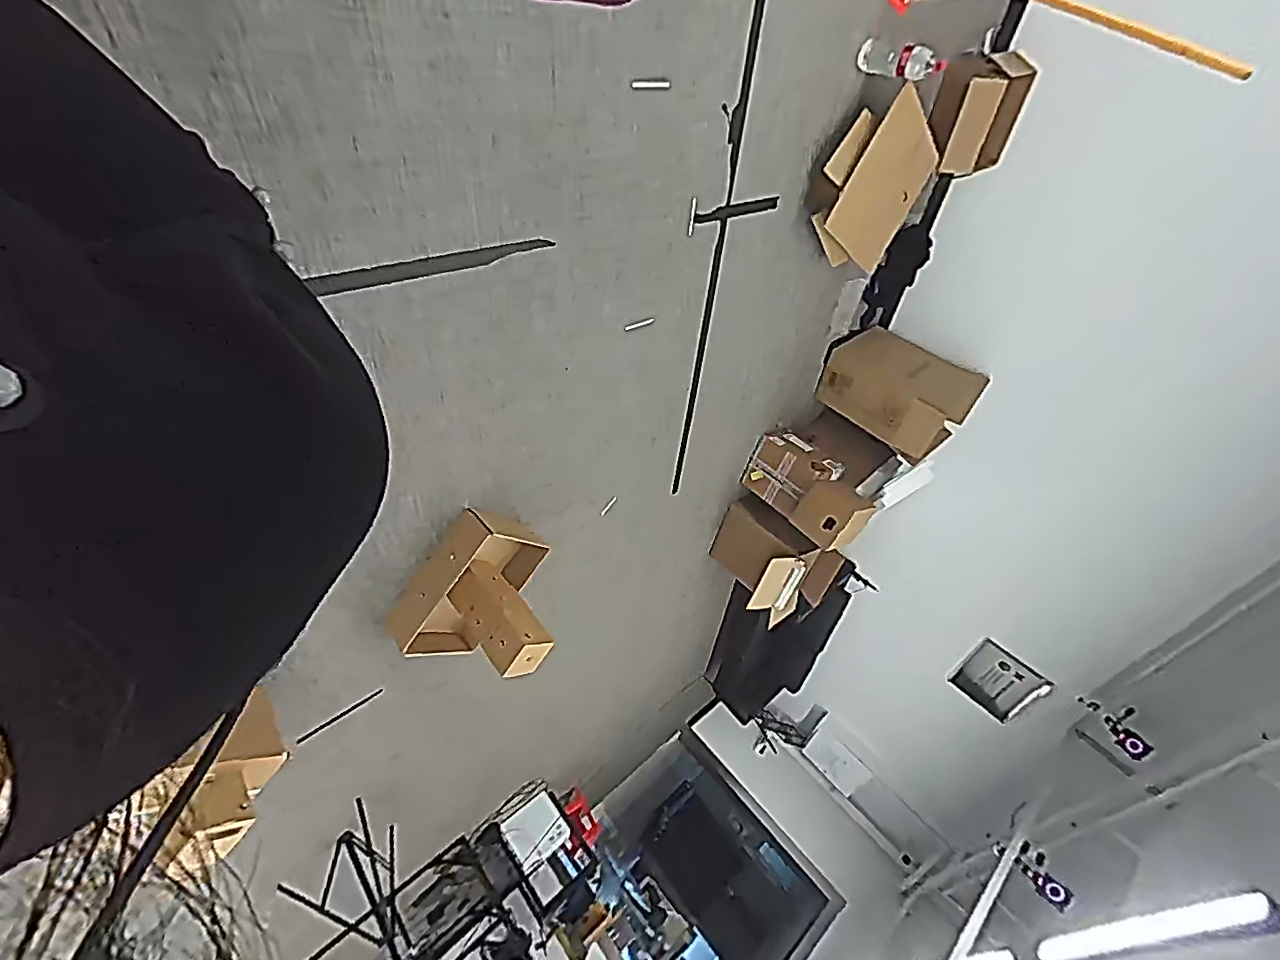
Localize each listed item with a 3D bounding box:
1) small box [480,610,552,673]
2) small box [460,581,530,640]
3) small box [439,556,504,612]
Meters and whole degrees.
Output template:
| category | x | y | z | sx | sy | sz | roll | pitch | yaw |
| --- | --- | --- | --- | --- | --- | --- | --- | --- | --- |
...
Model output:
| category | x | y | z | sx | sy | sz | roll | pitch | yaw |
| --- | --- | --- | --- | --- | --- | --- | --- | --- | --- |
| small box | -0.487 | 0.623 | 2.106 | 0.168 | 0.176 | 0.179 | -53 | 149 | 10 |
| small box | -0.591 | 0.525 | 2.189 | 0.168 | 0.176 | 0.179 | -53 | 151 | 10 |
| small box | -0.701 | 0.438 | 2.270 | 0.168 | 0.176 | 0.179 | -52 | 149 | 5 |
